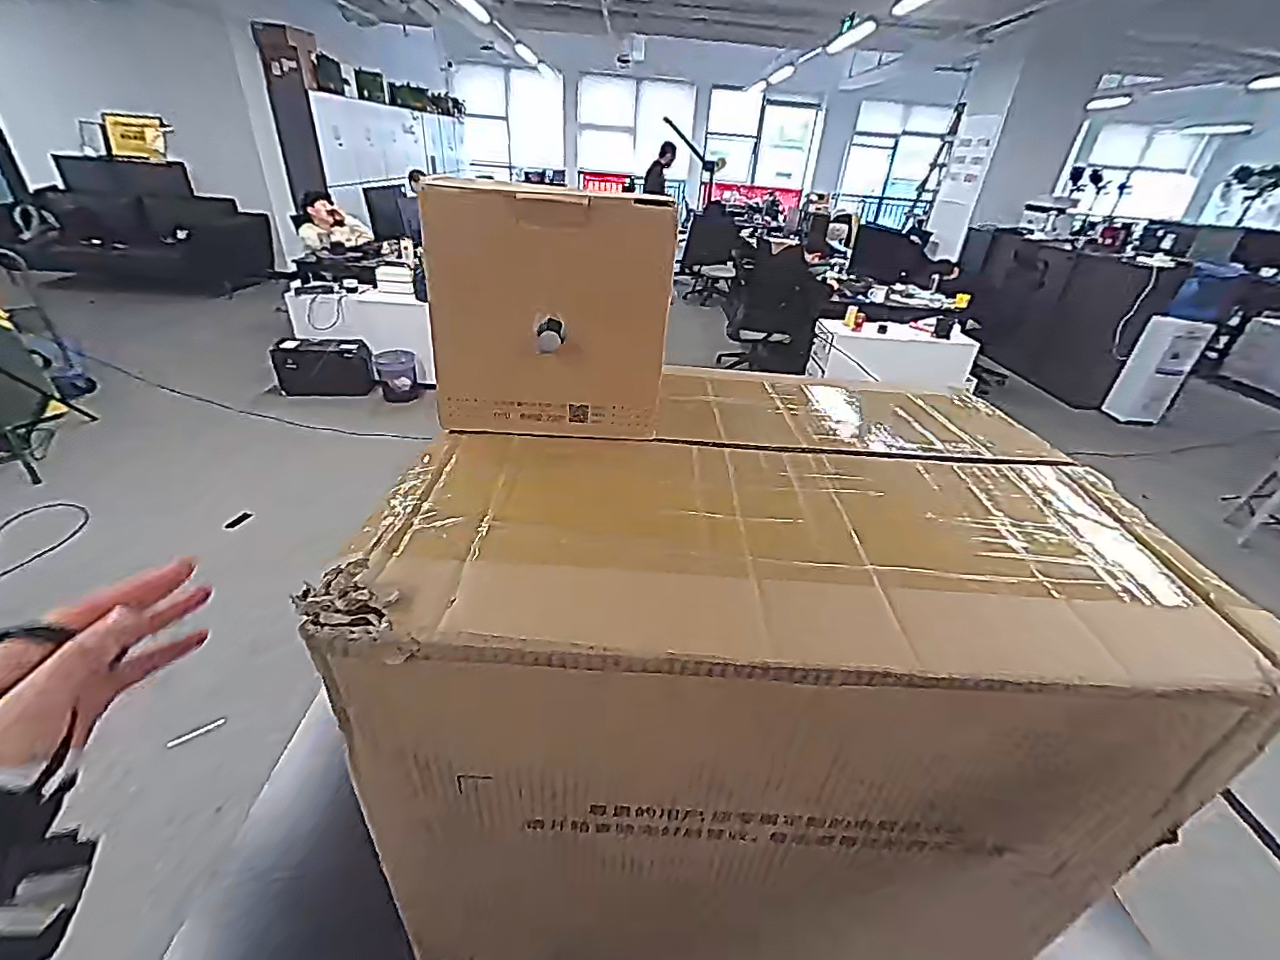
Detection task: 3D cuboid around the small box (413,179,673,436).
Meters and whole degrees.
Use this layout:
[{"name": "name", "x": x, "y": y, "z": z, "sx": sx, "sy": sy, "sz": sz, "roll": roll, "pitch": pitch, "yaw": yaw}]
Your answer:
[{"name": "small box", "x": -0.068, "y": -0.145, "z": 0.446, "sx": 0.168, "sy": 0.176, "sz": 0.179, "roll": 2, "pitch": 30, "yaw": -6}]
